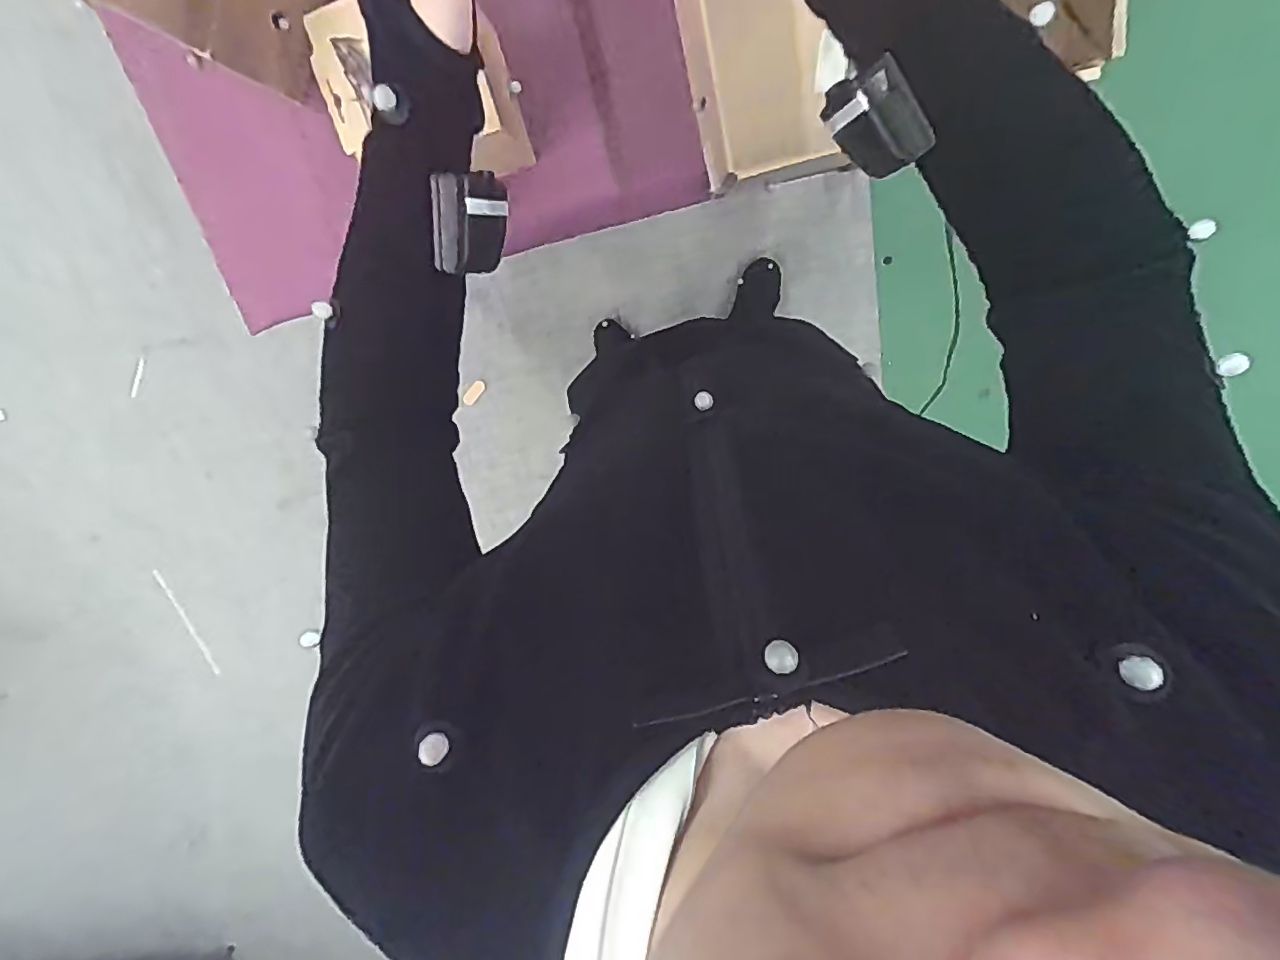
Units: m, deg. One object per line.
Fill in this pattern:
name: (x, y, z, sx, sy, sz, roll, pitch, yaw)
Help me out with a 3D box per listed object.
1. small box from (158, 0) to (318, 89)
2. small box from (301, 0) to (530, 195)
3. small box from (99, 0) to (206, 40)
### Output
small box: (-0.516, -0.602, 0.635, 0.179, 0.176, 0.168, 27, 108, -7)
small box: (-0.258, -0.474, 0.668, 0.179, 0.176, 0.168, -15, 108, 8)
small box: (-0.518, -0.551, 0.481, 0.168, 0.176, 0.179, 27, 109, -9)
